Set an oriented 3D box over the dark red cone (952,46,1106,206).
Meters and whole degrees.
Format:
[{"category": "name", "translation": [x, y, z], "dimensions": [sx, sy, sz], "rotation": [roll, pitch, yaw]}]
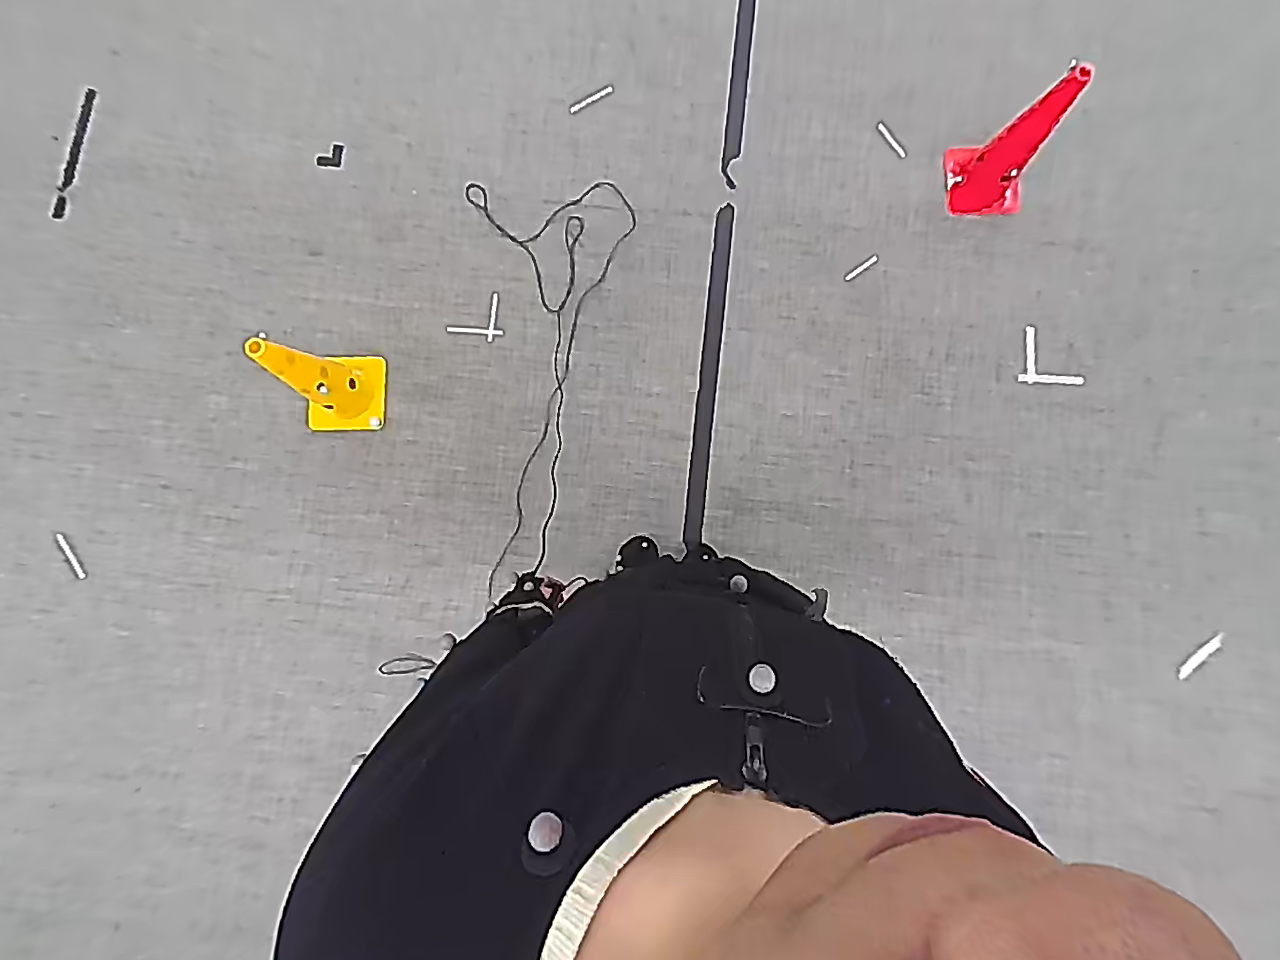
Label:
[{"category": "dark red cone", "translation": [0.947, -0.859, 1.304], "dimensions": [0.201, 0.394, 0.202], "rotation": [-2, 83, 1]}]
